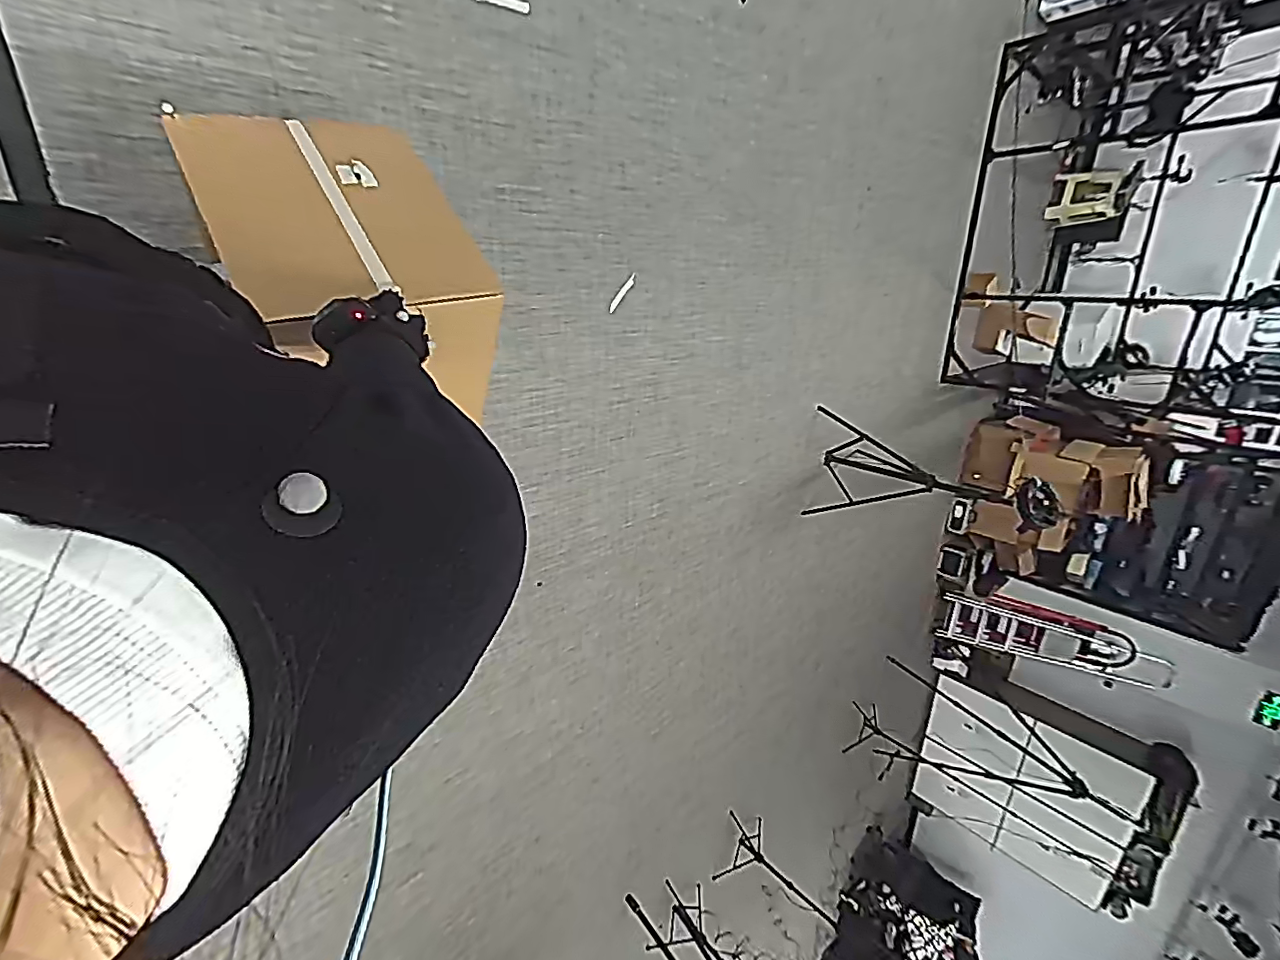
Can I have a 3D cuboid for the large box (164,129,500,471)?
[{"bbox_3d":[-0.474,-0.290,0.876,0.320,0.408,0.320,-22,158,-35],"label":"large box"}]
